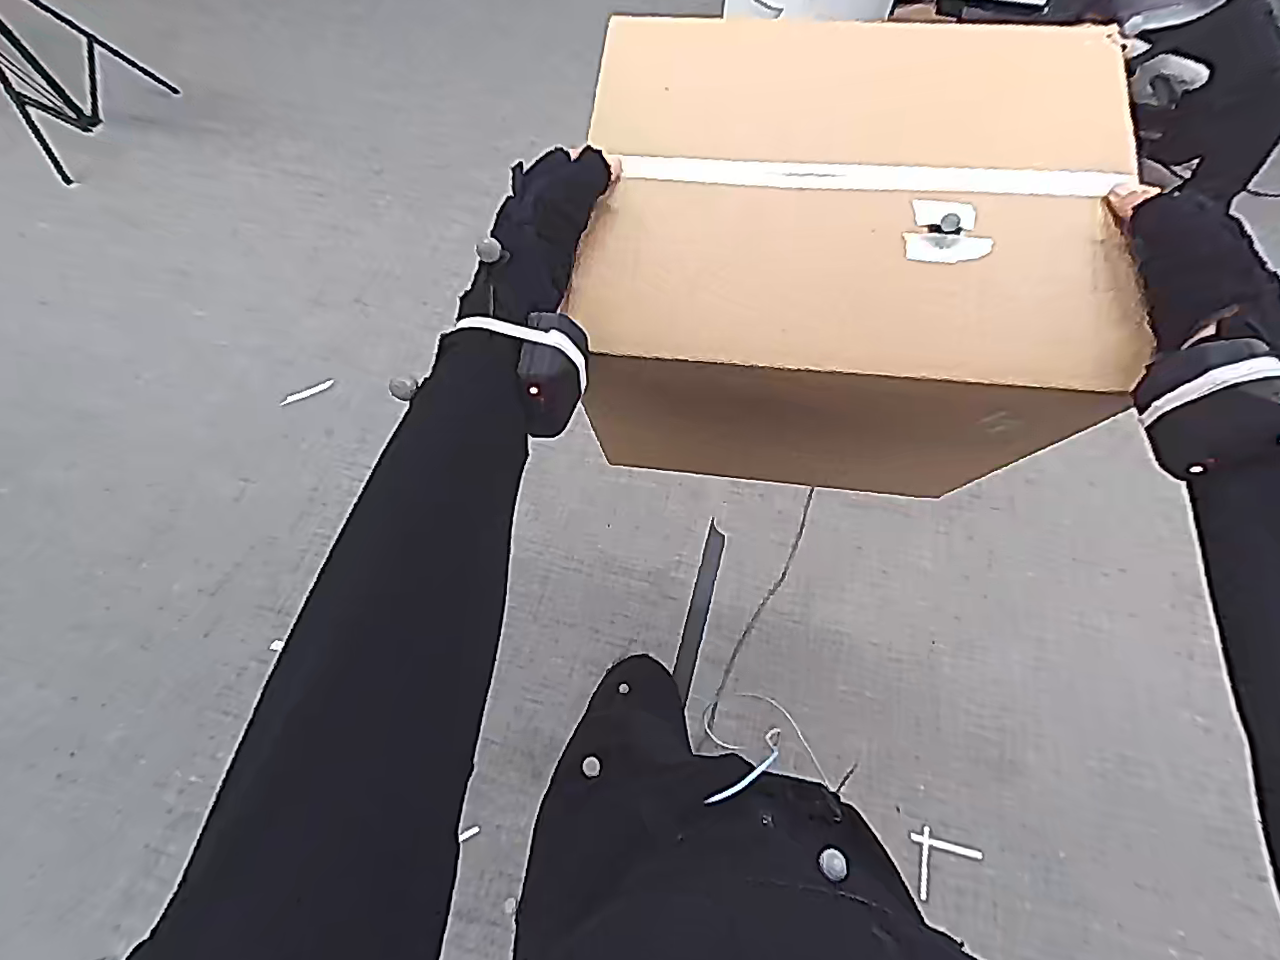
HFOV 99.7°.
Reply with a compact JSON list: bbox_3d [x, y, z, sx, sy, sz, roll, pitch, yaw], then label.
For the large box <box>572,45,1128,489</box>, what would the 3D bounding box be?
[{"bbox_3d":[0.167,-0.187,0.571,0.408,0.320,0.320,6,77,5],"label":"large box"}]
